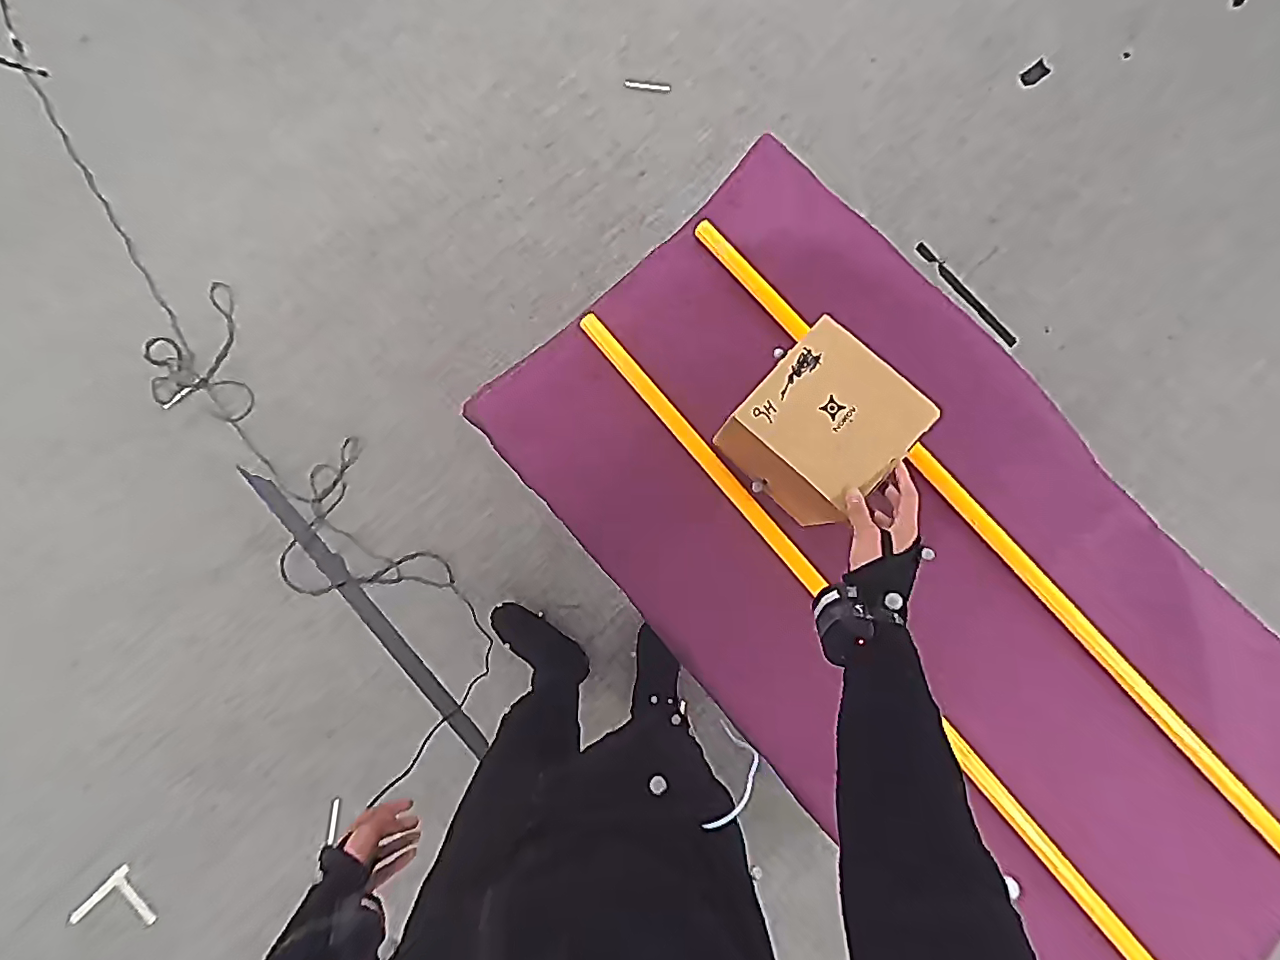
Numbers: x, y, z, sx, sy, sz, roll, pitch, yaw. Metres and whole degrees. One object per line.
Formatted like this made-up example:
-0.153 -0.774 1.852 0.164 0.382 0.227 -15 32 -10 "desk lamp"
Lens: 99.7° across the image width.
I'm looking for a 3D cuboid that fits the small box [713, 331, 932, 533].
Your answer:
0.216 -0.051 0.692 0.179 0.176 0.168 43 85 4 "small box"
